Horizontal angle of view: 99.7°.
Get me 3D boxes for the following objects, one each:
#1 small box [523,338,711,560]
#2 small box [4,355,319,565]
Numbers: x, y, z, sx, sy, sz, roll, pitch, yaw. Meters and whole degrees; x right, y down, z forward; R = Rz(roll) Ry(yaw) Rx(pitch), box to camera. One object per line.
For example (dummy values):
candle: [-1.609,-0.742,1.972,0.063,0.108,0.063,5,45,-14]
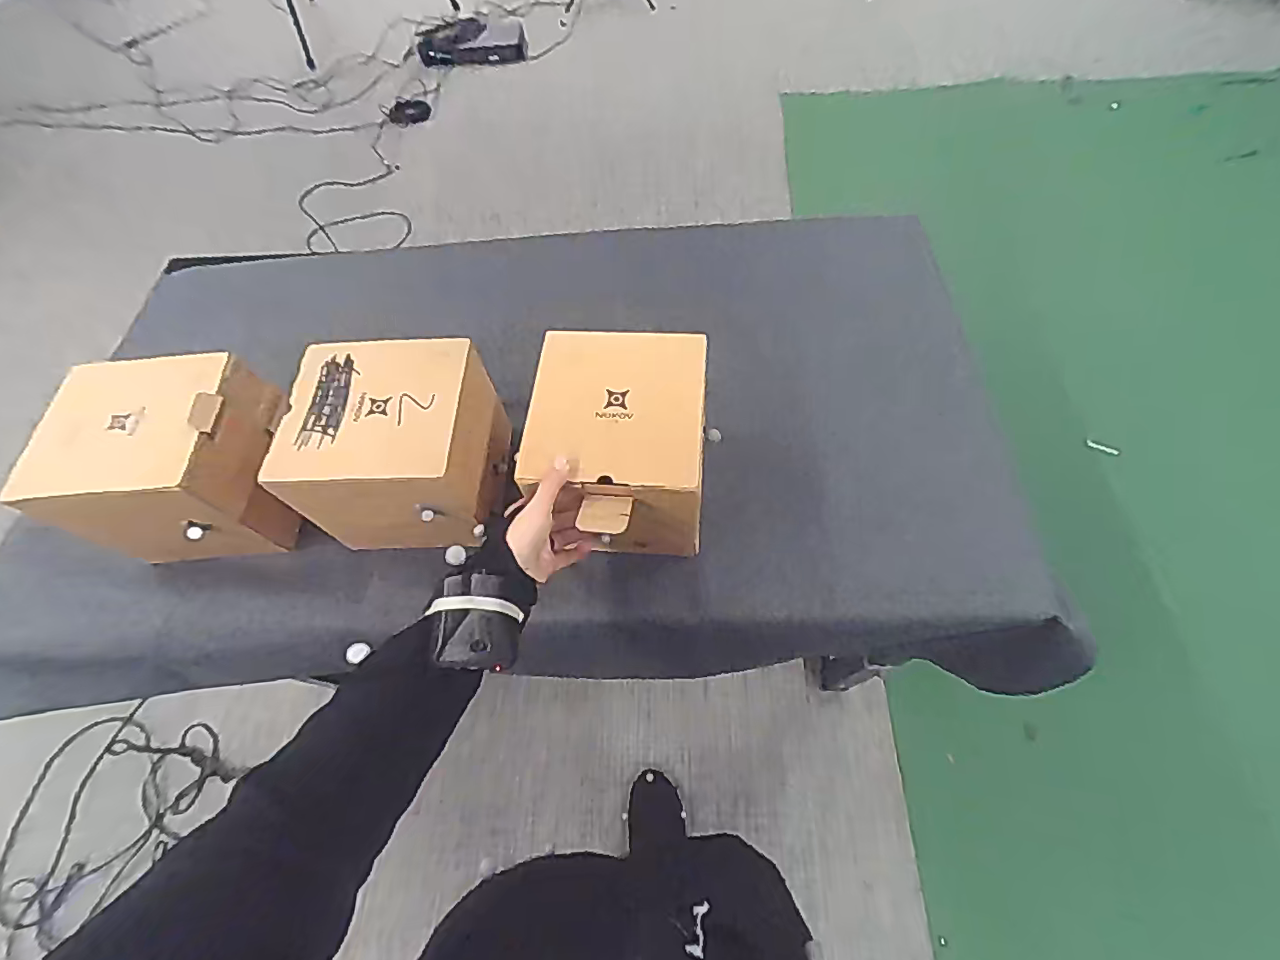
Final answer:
small box: [-0.011,-0.030,0.577,0.168,0.176,0.179,1,60,6]
small box: [-0.498,-0.015,0.602,0.179,0.176,0.168,-6,60,1]
